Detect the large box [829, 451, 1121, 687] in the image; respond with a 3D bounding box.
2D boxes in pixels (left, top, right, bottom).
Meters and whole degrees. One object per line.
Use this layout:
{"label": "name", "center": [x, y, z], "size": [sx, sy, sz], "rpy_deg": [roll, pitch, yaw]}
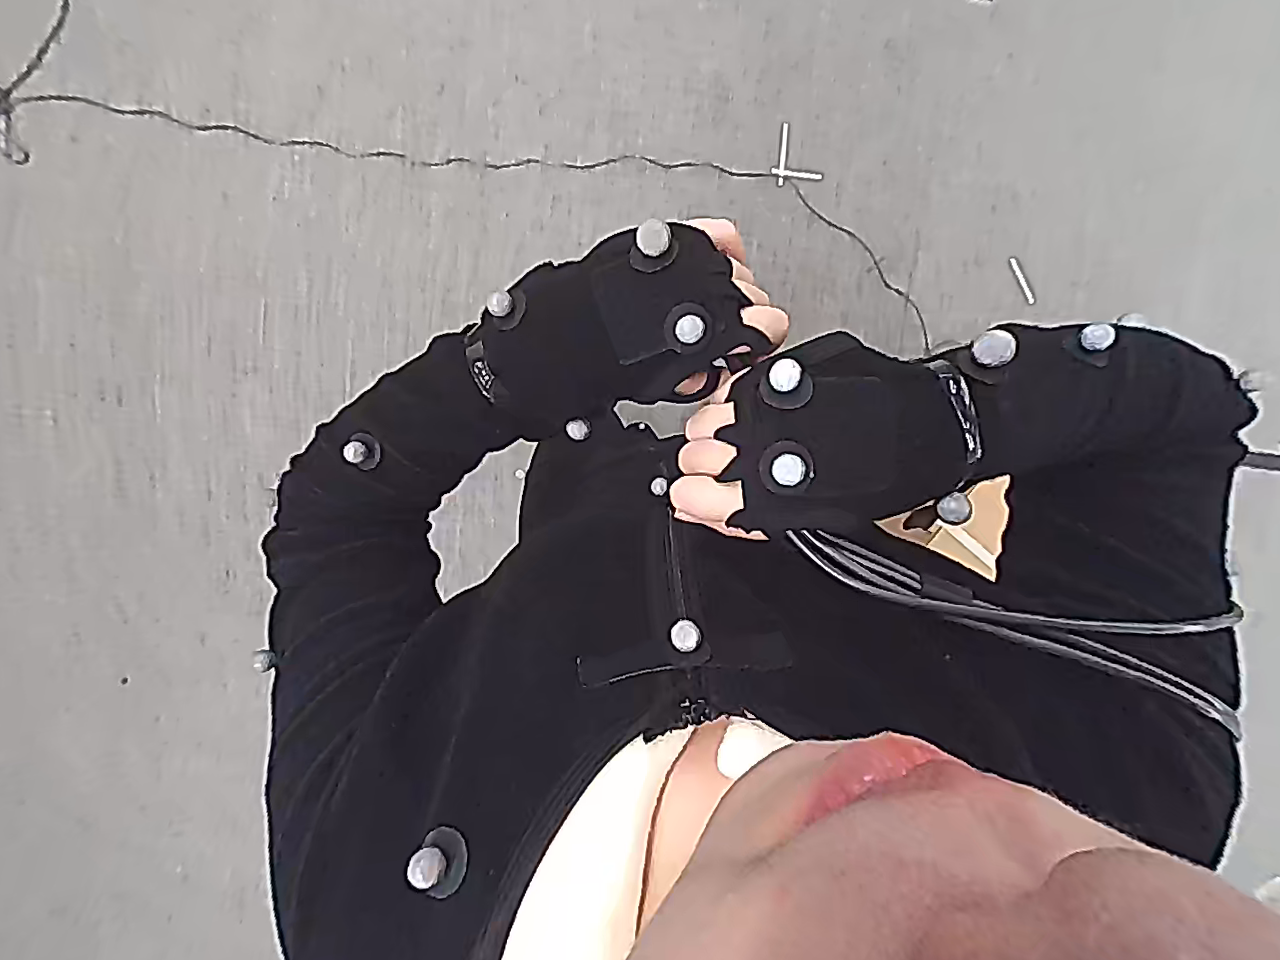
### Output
{"label": "large box", "center": [0.728, 0.177, 1.234], "size": [0.408, 0.320, 0.320], "rpy_deg": [38, 94, -9]}
